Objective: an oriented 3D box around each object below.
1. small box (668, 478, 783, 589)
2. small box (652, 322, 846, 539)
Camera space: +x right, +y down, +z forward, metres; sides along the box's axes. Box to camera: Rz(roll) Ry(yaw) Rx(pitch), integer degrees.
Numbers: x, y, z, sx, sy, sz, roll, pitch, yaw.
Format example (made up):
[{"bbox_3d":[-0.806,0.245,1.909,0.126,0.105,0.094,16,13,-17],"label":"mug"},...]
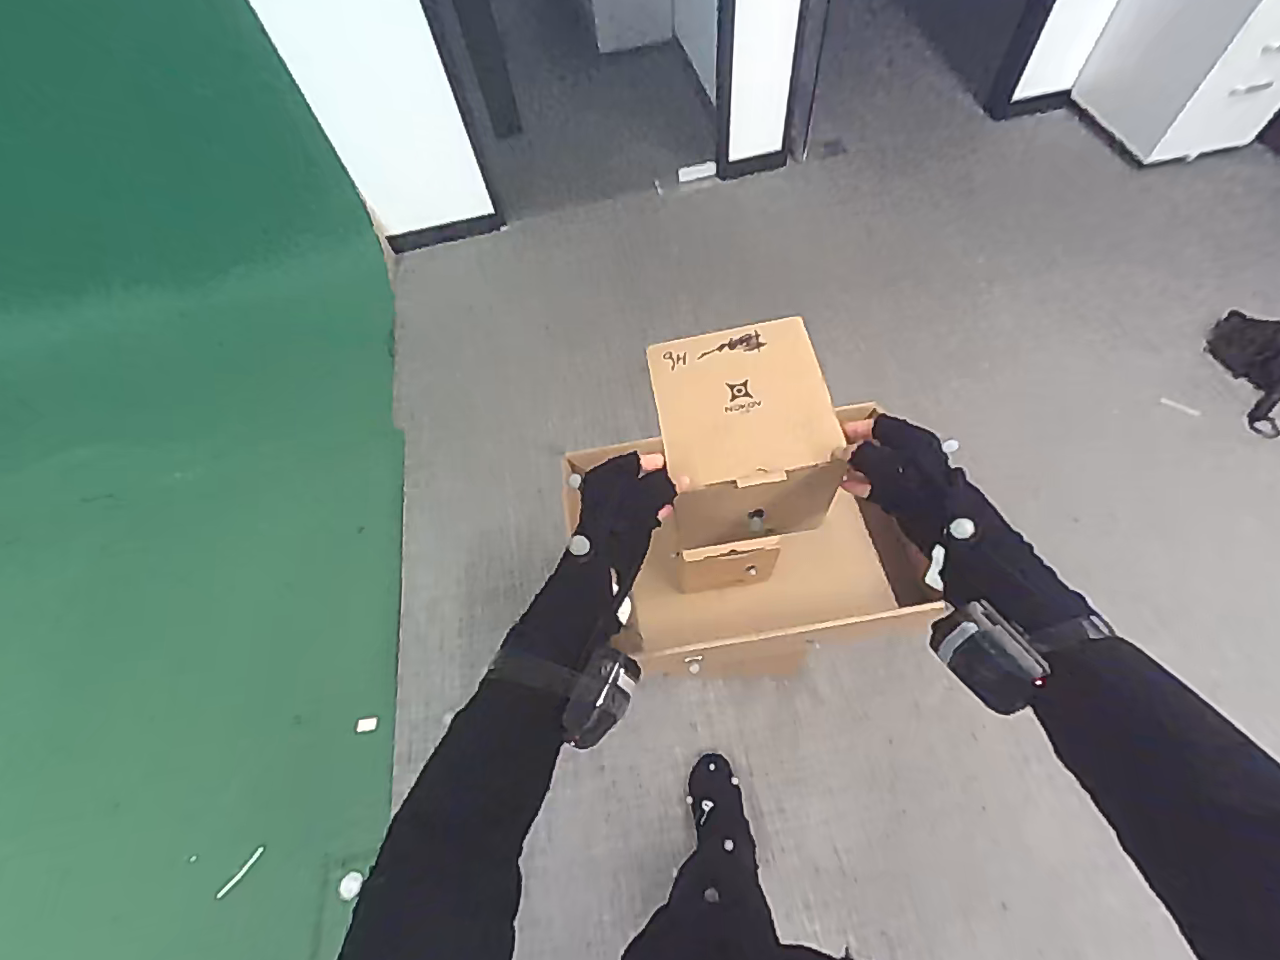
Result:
[{"bbox_3d":[0.148,0.087,0.985,0.168,0.176,0.179,-9,58,-1],"label":"small box"},{"bbox_3d":[0.113,-0.042,0.608,0.168,0.176,0.179,-10,63,4],"label":"small box"}]
